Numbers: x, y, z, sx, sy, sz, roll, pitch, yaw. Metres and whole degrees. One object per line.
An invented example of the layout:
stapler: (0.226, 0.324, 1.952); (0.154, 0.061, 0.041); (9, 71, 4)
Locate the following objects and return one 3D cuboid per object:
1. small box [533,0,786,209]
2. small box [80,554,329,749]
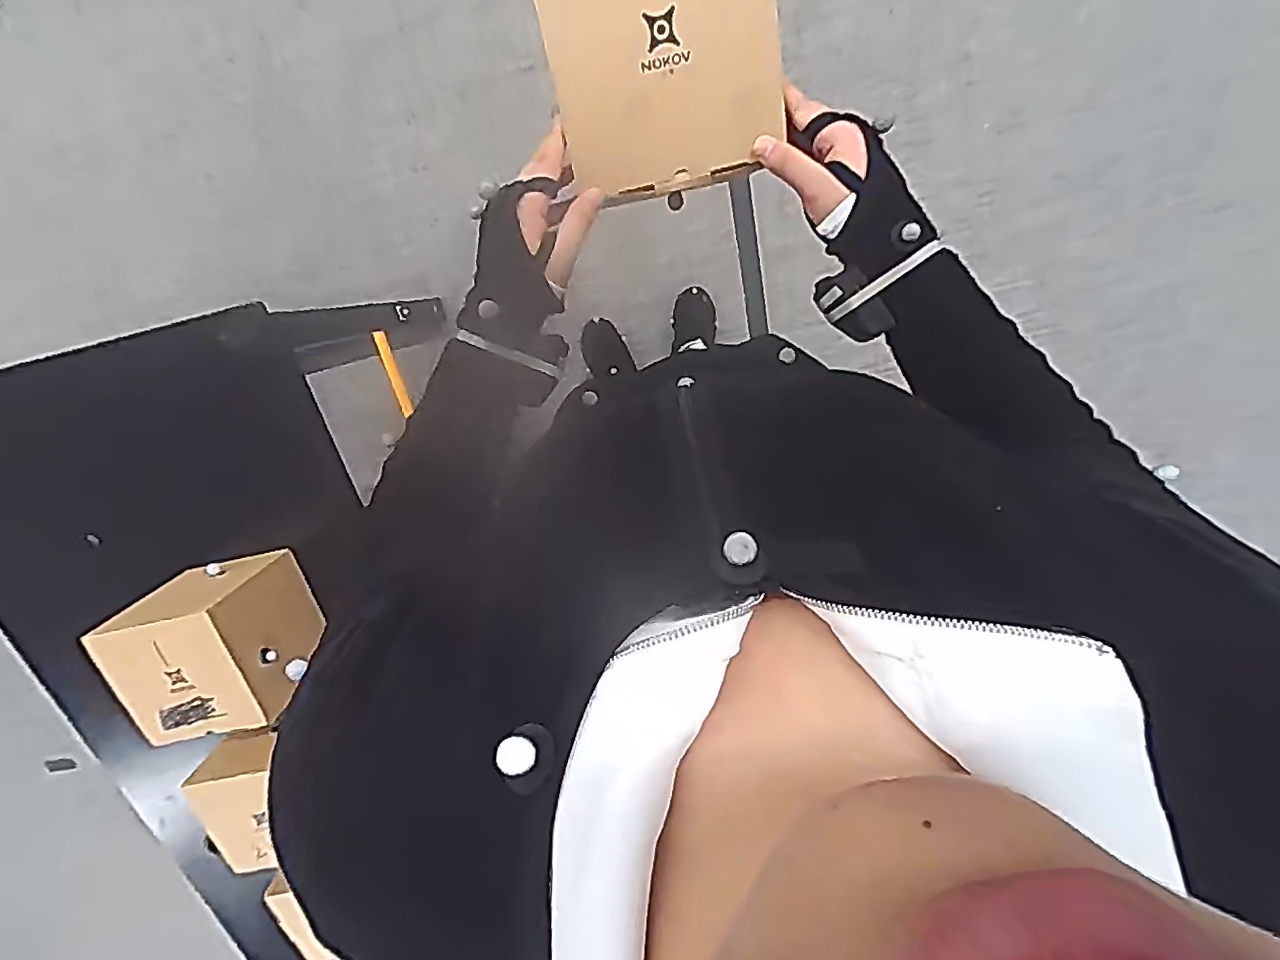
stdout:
small box: (0.015, -0.339, 0.450); (0.168, 0.176, 0.179); (-11, 116, 4)
small box: (-0.569, 0.226, 0.739); (0.168, 0.176, 0.179); (-12, 109, 3)
